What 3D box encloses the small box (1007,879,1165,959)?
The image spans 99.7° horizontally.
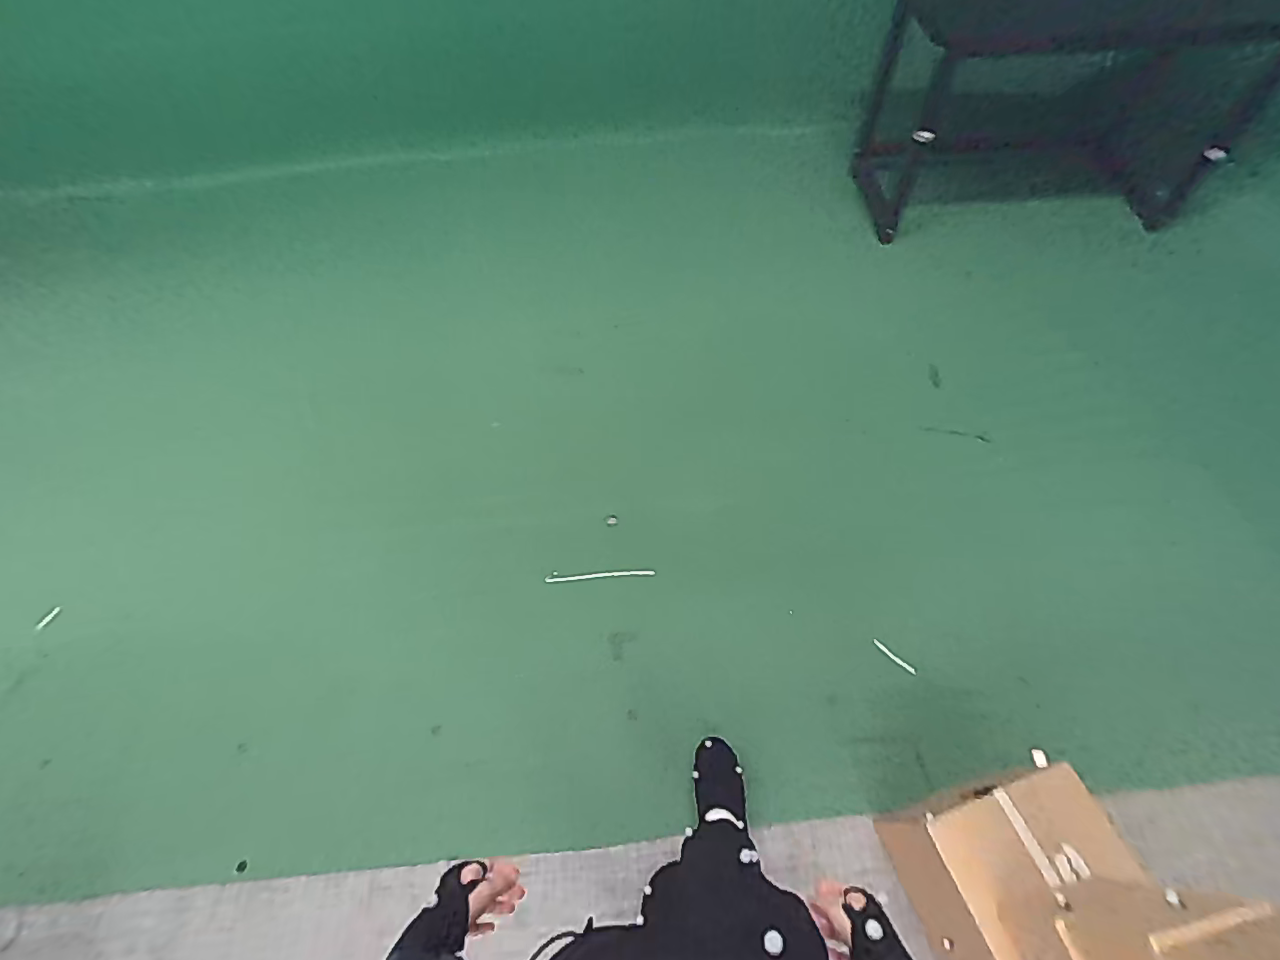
[{"bbox_3d":[0.689,0.715,0.797,0.179,0.176,0.168,-12,59,-5],"label":"small box"}]

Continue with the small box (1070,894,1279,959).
[{"bbox_3d":[0.690,0.631,0.659,0.168,0.176,0.179,-11,59,-4],"label":"small box"}]

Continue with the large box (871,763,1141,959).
[{"bbox_3d":[0.719,0.817,1.023,0.320,0.320,0.408,-16,57,-9],"label":"large box"}]
